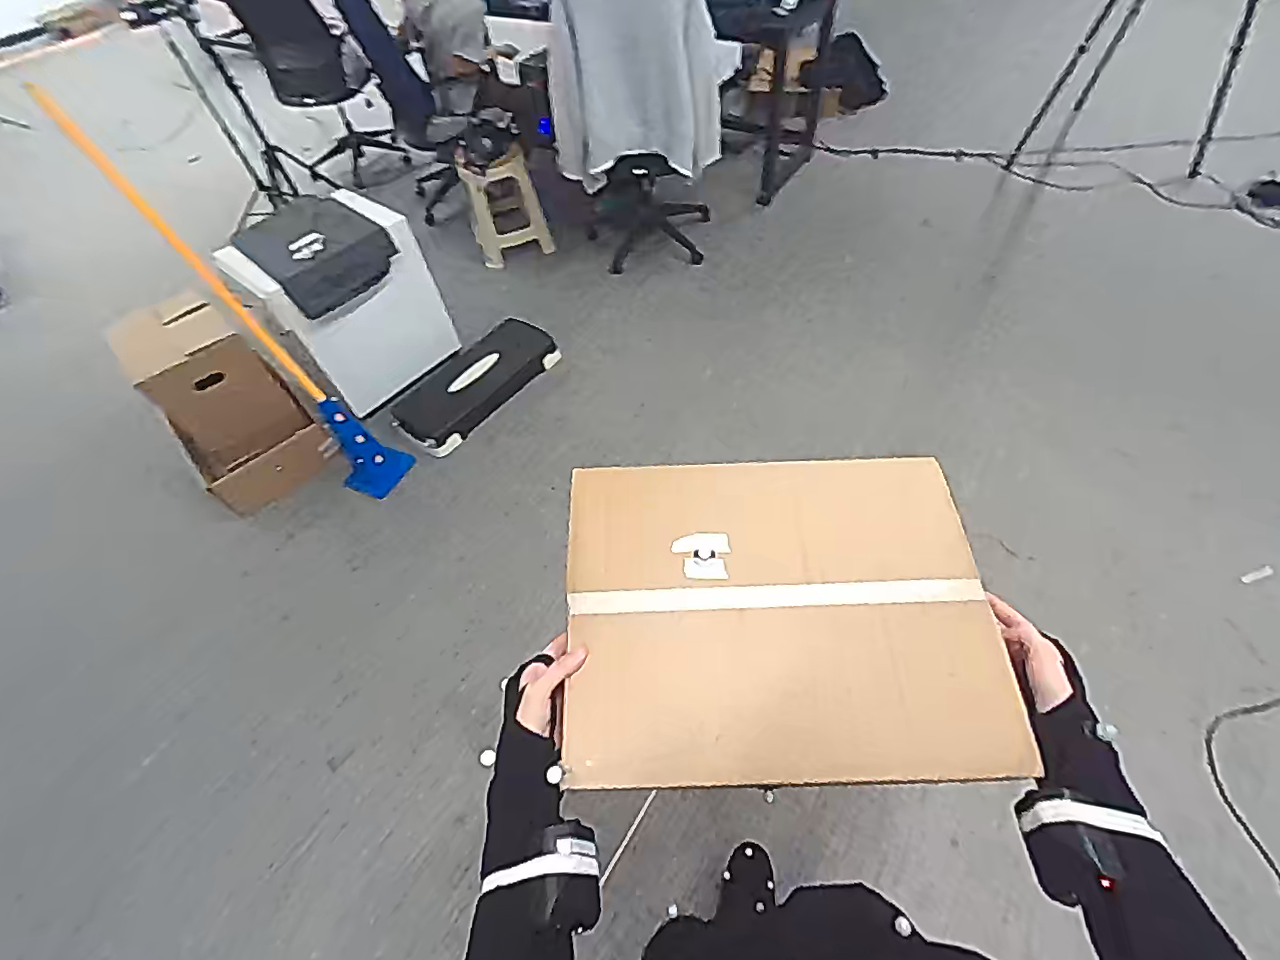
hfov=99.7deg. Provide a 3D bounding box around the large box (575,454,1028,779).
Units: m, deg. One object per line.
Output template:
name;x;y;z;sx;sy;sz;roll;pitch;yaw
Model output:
large box;0.145;0.187;0.673;0.408;0.320;0.320;-3;60;2
